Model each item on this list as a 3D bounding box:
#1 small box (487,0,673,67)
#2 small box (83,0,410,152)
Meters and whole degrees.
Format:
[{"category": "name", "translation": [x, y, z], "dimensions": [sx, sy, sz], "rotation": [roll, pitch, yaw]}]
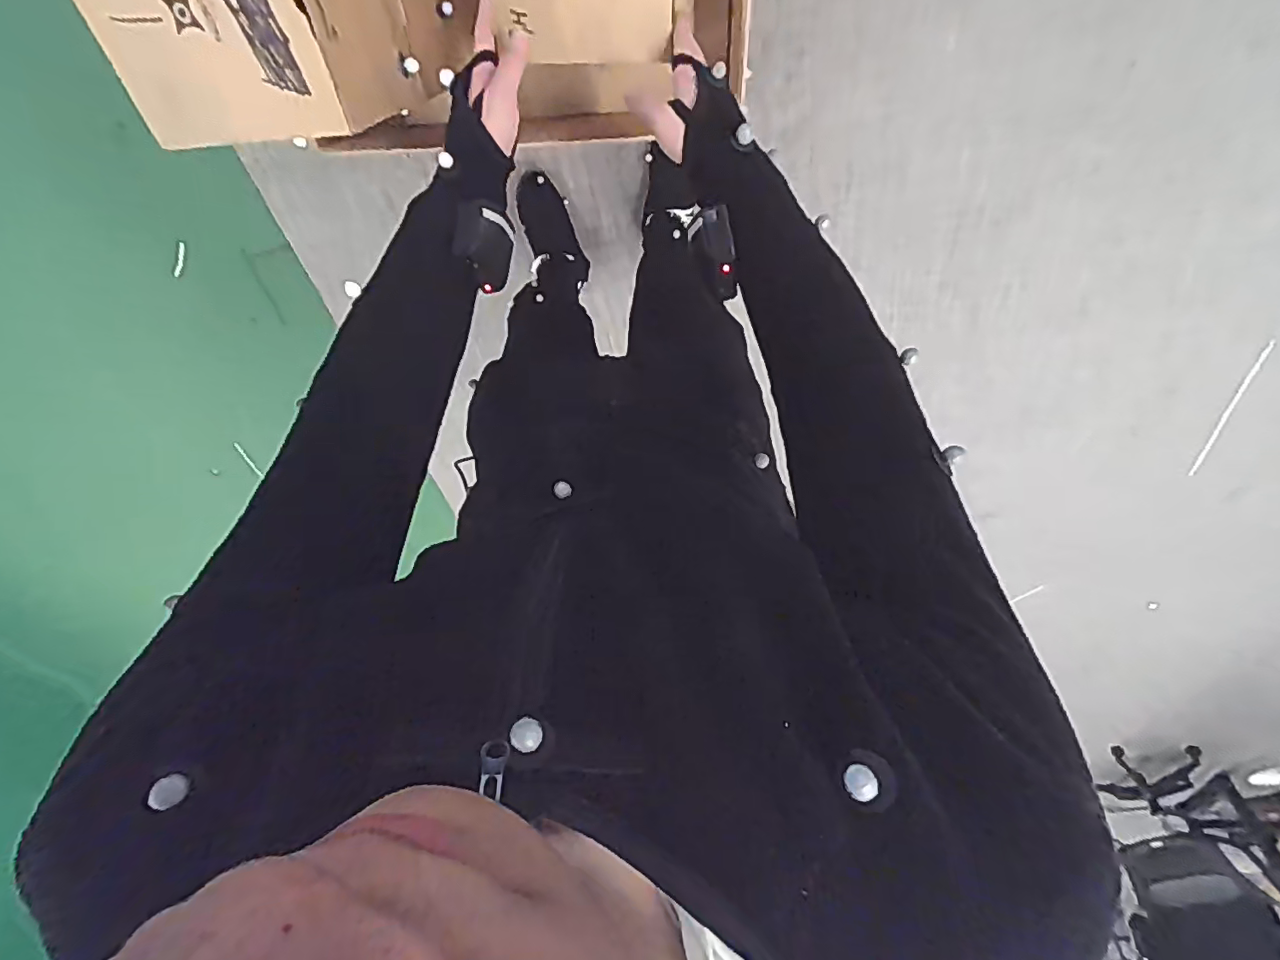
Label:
[{"category": "small box", "translation": [-0.053, -0.530, 0.541], "dimensions": [0.179, 0.176, 0.168], "rotation": [3, 134, 4]}, {"category": "small box", "translation": [-0.325, -0.403, 0.468], "dimensions": [0.179, 0.176, 0.168], "rotation": [0, 134, 7]}]
